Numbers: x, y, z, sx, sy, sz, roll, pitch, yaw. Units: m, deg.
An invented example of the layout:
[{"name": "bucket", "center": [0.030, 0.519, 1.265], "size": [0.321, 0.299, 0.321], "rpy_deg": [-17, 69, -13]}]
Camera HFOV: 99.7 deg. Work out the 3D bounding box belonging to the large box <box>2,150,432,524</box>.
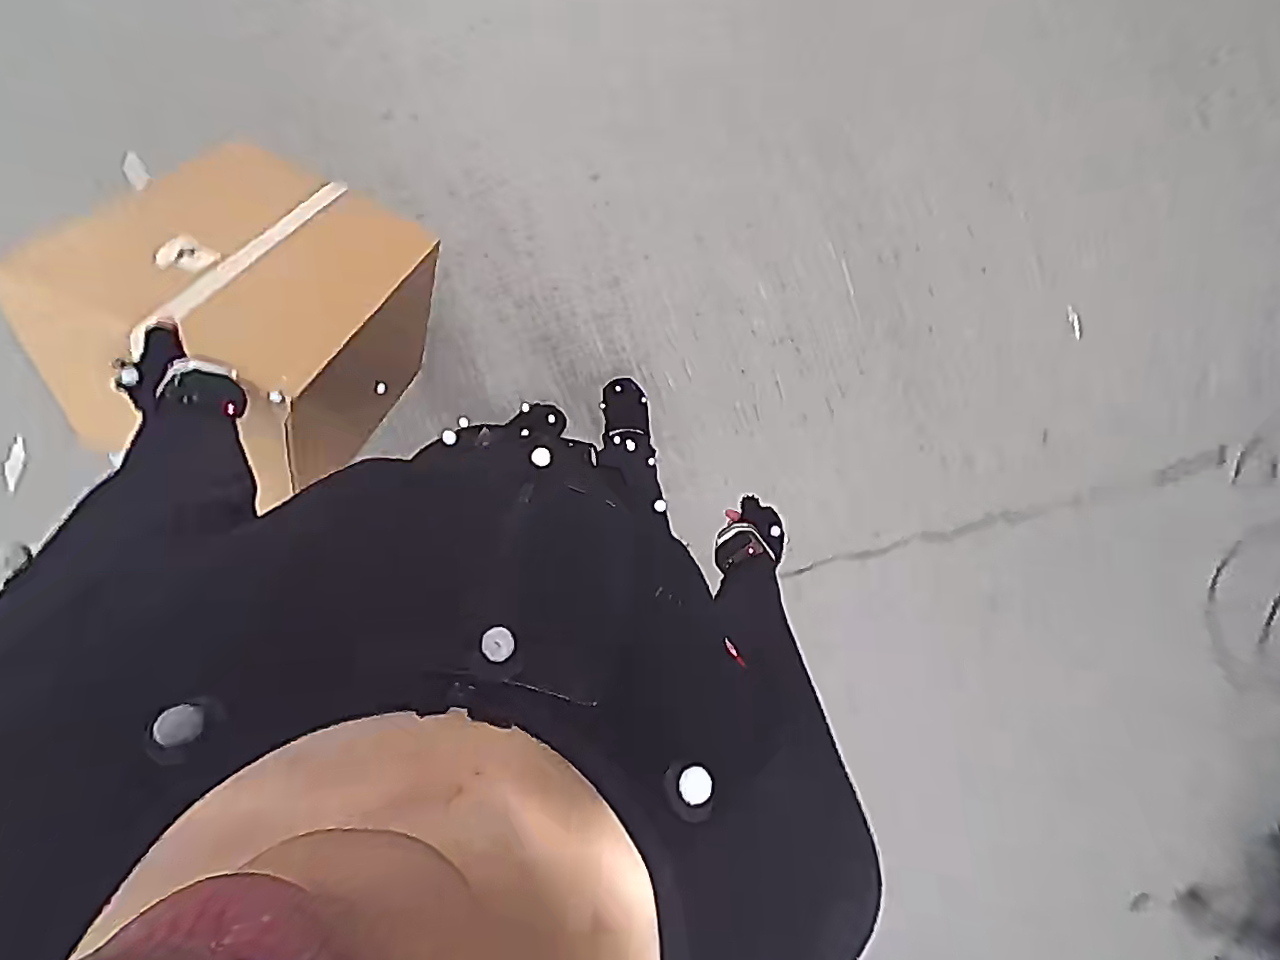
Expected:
[{"name": "large box", "center": [-0.565, -0.210, 0.834], "size": [0.320, 0.408, 0.320], "rpy_deg": [23, 141, -11]}]
